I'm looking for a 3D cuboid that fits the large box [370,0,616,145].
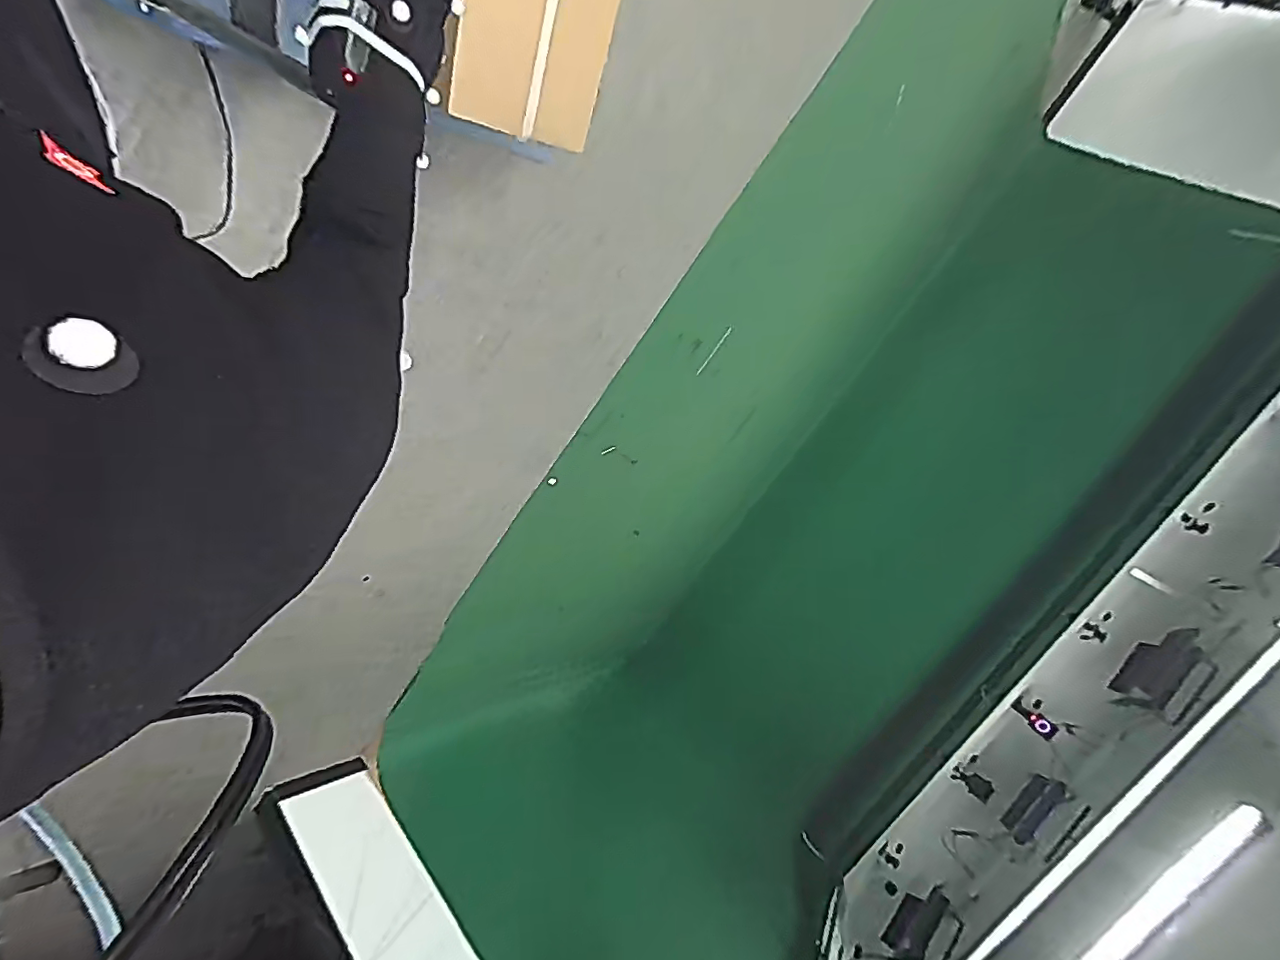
[{"bbox_3d":[-0.260,-0.894,0.970,0.320,0.320,0.408,-20,140,-47],"label":"large box"}]
